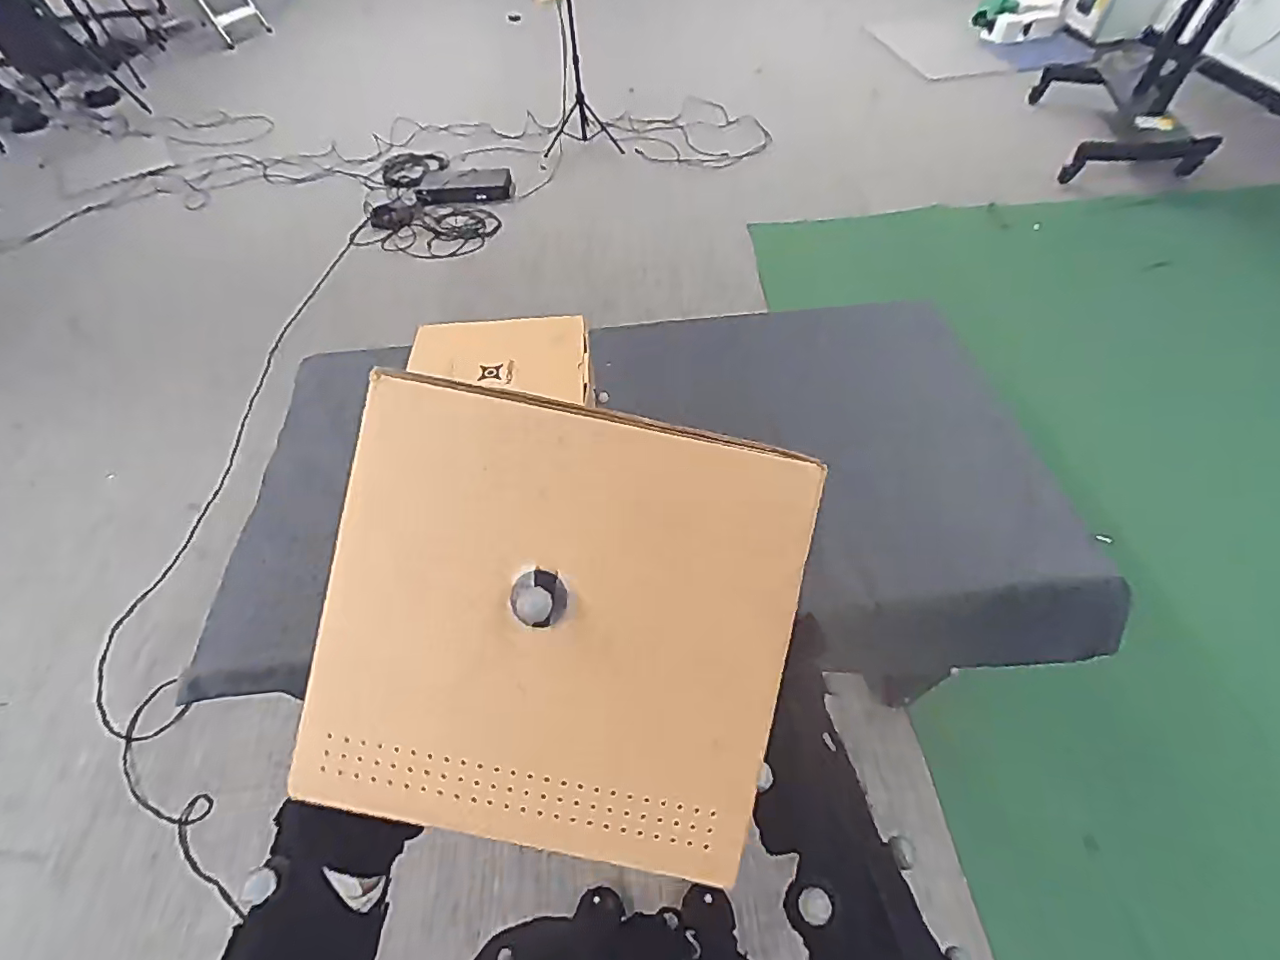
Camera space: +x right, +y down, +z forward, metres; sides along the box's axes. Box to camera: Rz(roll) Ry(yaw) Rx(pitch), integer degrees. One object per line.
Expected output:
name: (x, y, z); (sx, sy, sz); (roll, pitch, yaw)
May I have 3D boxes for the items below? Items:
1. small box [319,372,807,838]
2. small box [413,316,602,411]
small box: (-0.034, 0.053, 0.293); (0.179, 0.168, 0.176); (11, 90, -1)
small box: (-0.132, -0.054, 0.587); (0.179, 0.176, 0.168); (-4, 51, 1)
